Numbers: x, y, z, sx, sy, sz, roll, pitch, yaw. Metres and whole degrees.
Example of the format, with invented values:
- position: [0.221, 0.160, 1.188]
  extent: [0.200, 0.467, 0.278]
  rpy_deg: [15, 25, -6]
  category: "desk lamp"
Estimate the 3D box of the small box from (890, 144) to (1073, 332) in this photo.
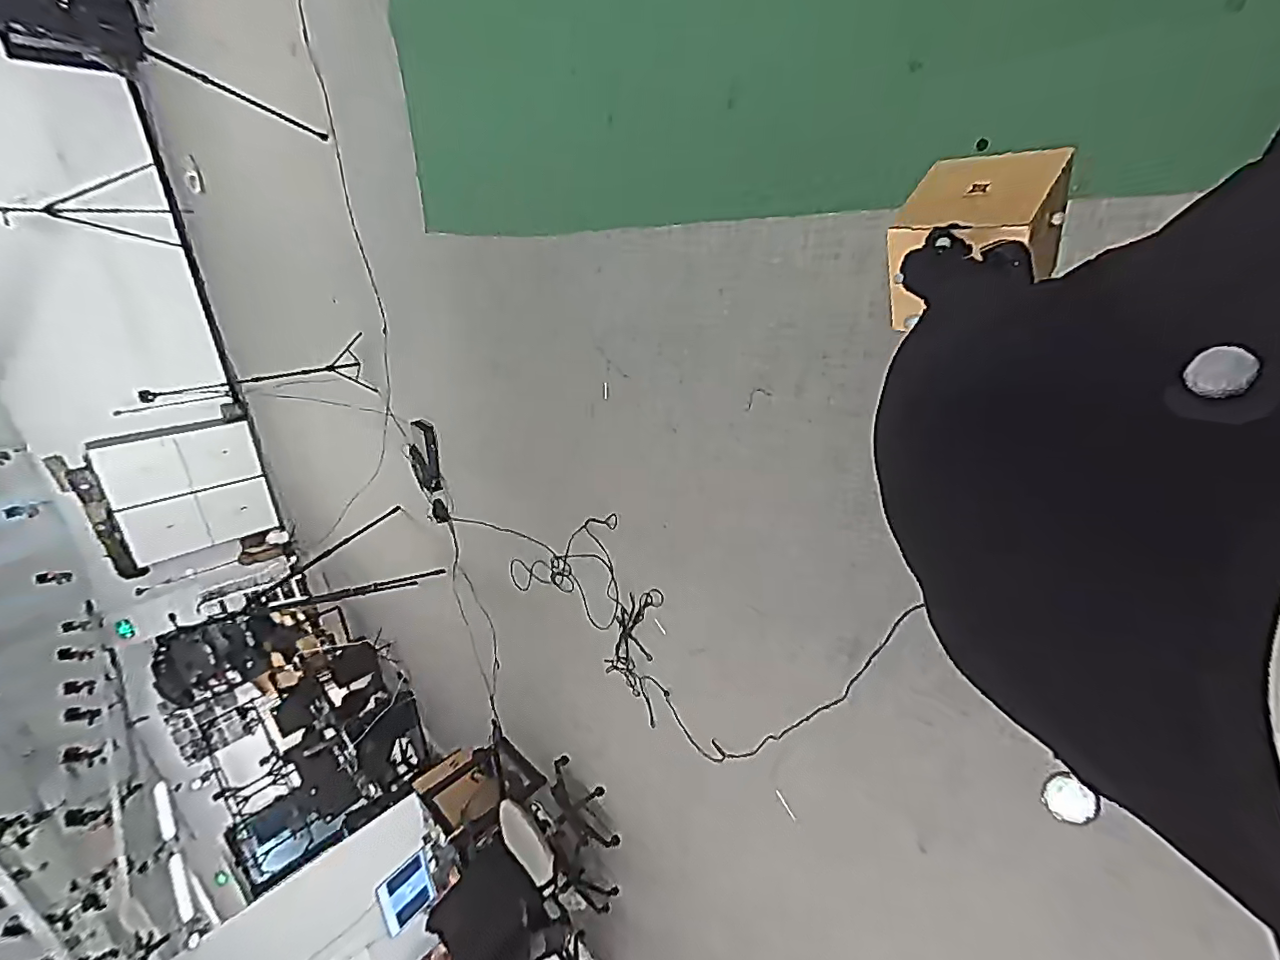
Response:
- position: [0.472, -0.337, 0.763]
  extent: [0.168, 0.179, 0.176]
  rpy_deg: [21, 154, 39]
  category: "small box"
